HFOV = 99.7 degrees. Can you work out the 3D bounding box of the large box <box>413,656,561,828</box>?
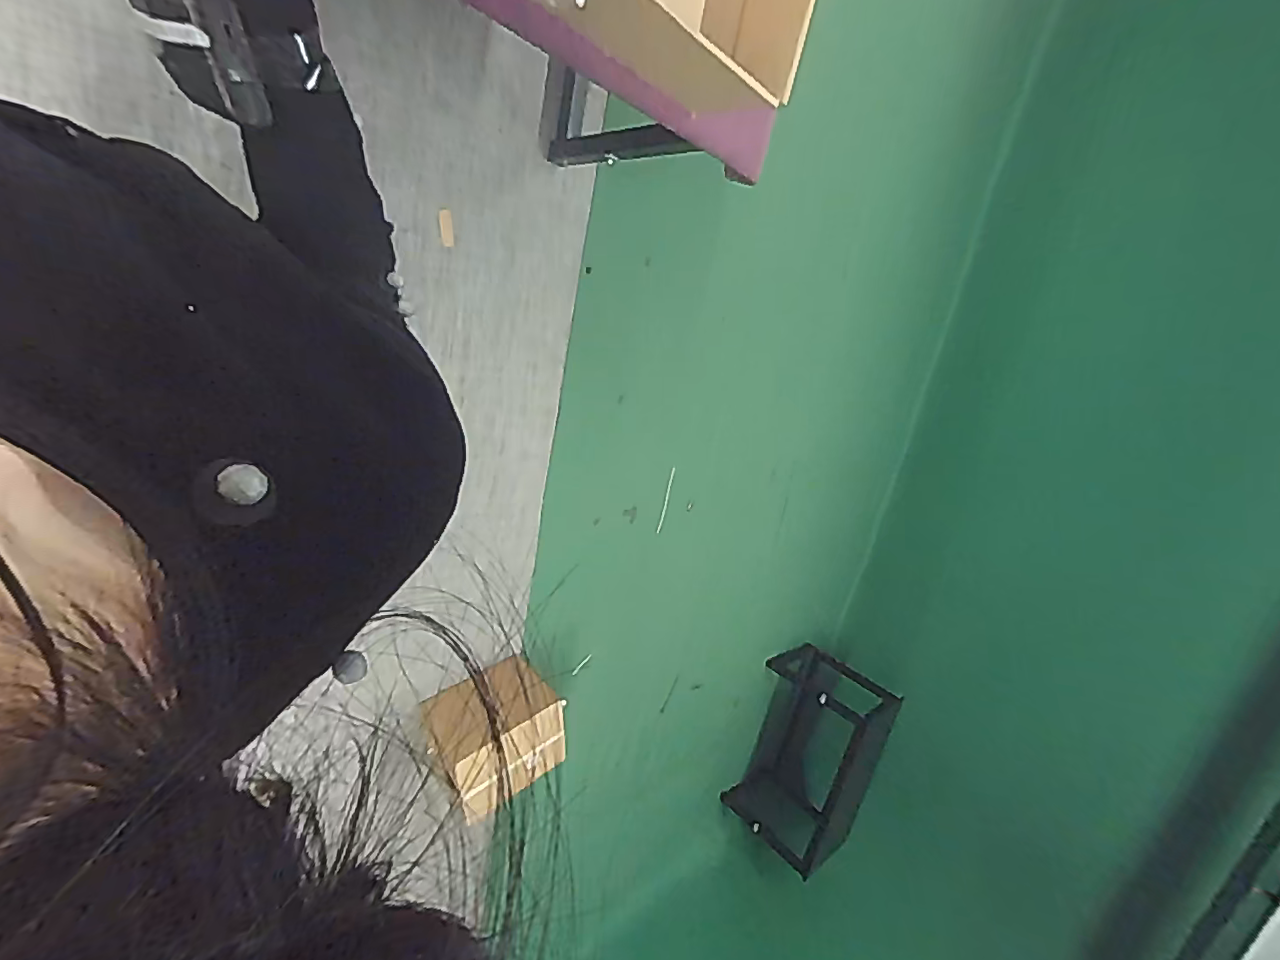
[{"bbox_3d":[-0.544,0.920,1.950,0.408,0.320,0.320,-21,123,-39],"label":"large box"}]
